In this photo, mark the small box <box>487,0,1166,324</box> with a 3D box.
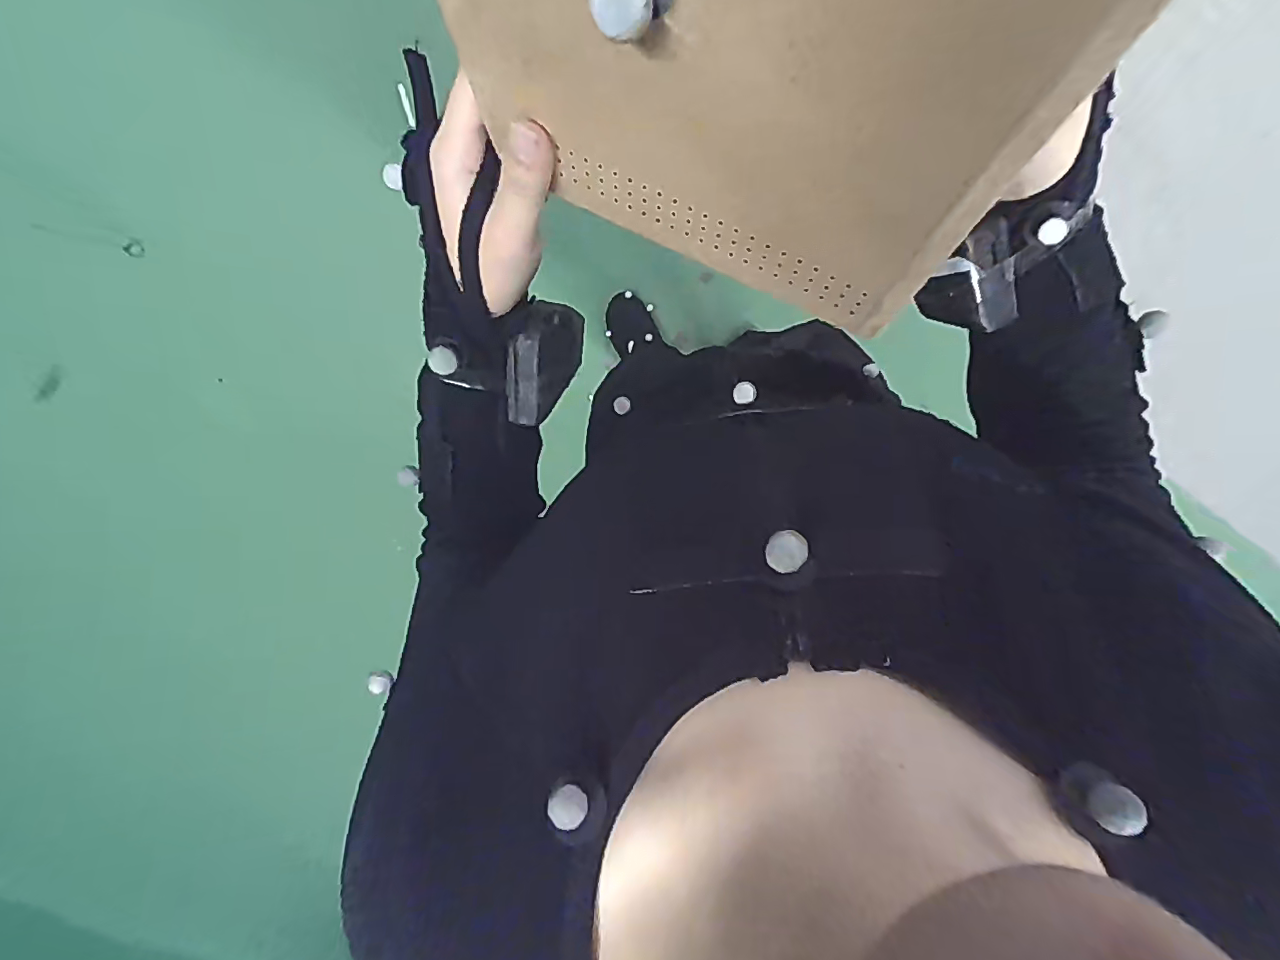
[{"bbox_3d":[0.059,-0.177,0.165,0.179,0.176,0.168,27,82,8],"label":"small box"}]
